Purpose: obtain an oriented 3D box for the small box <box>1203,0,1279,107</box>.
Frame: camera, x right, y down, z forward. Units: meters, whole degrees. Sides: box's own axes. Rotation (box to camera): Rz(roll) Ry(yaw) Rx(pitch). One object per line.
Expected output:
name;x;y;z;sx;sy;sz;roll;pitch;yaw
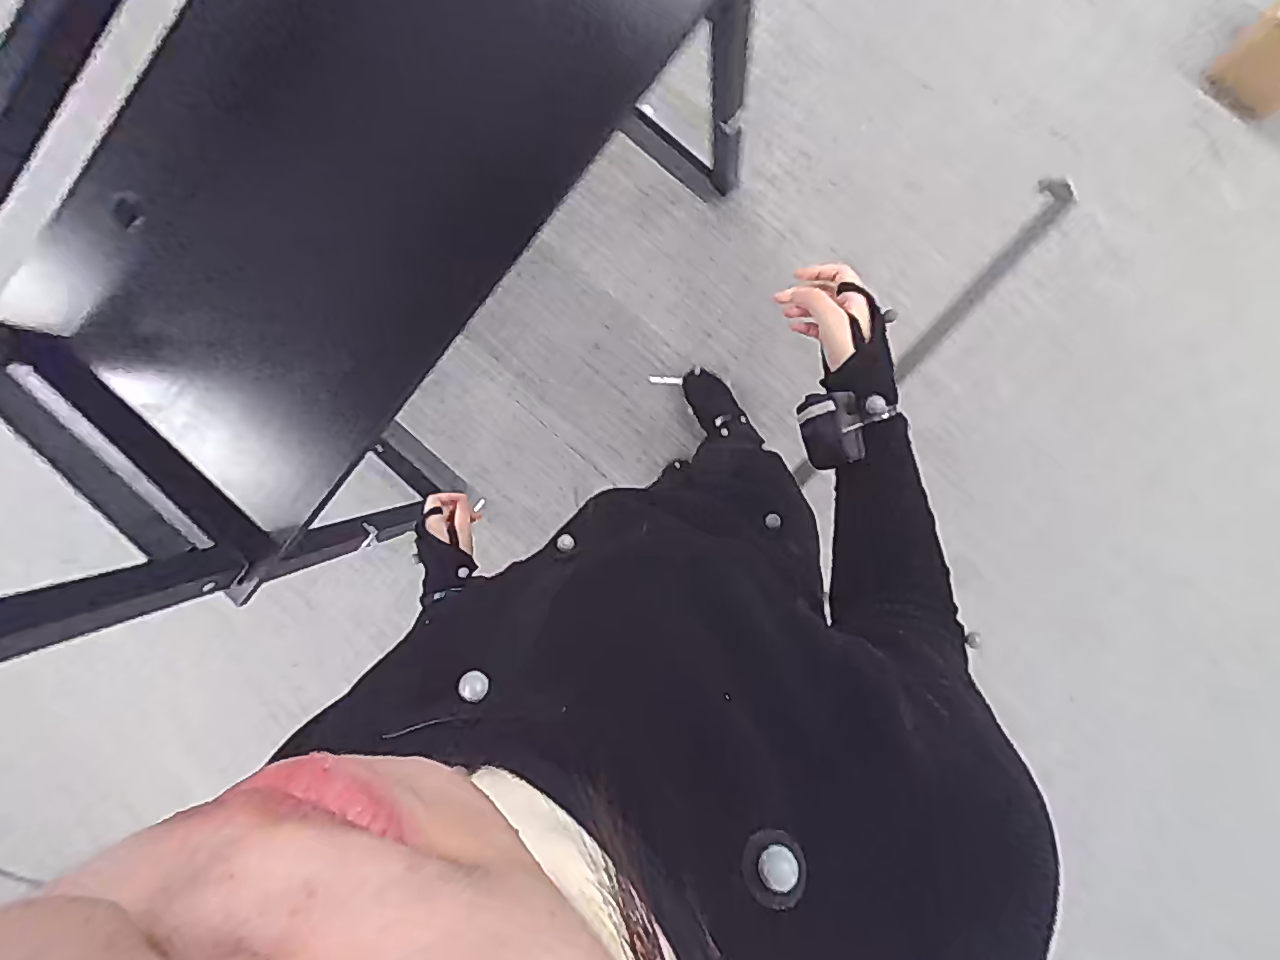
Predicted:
small box;1.367;-0.927;1.123;0.179;0.176;0.168;40;99;2
